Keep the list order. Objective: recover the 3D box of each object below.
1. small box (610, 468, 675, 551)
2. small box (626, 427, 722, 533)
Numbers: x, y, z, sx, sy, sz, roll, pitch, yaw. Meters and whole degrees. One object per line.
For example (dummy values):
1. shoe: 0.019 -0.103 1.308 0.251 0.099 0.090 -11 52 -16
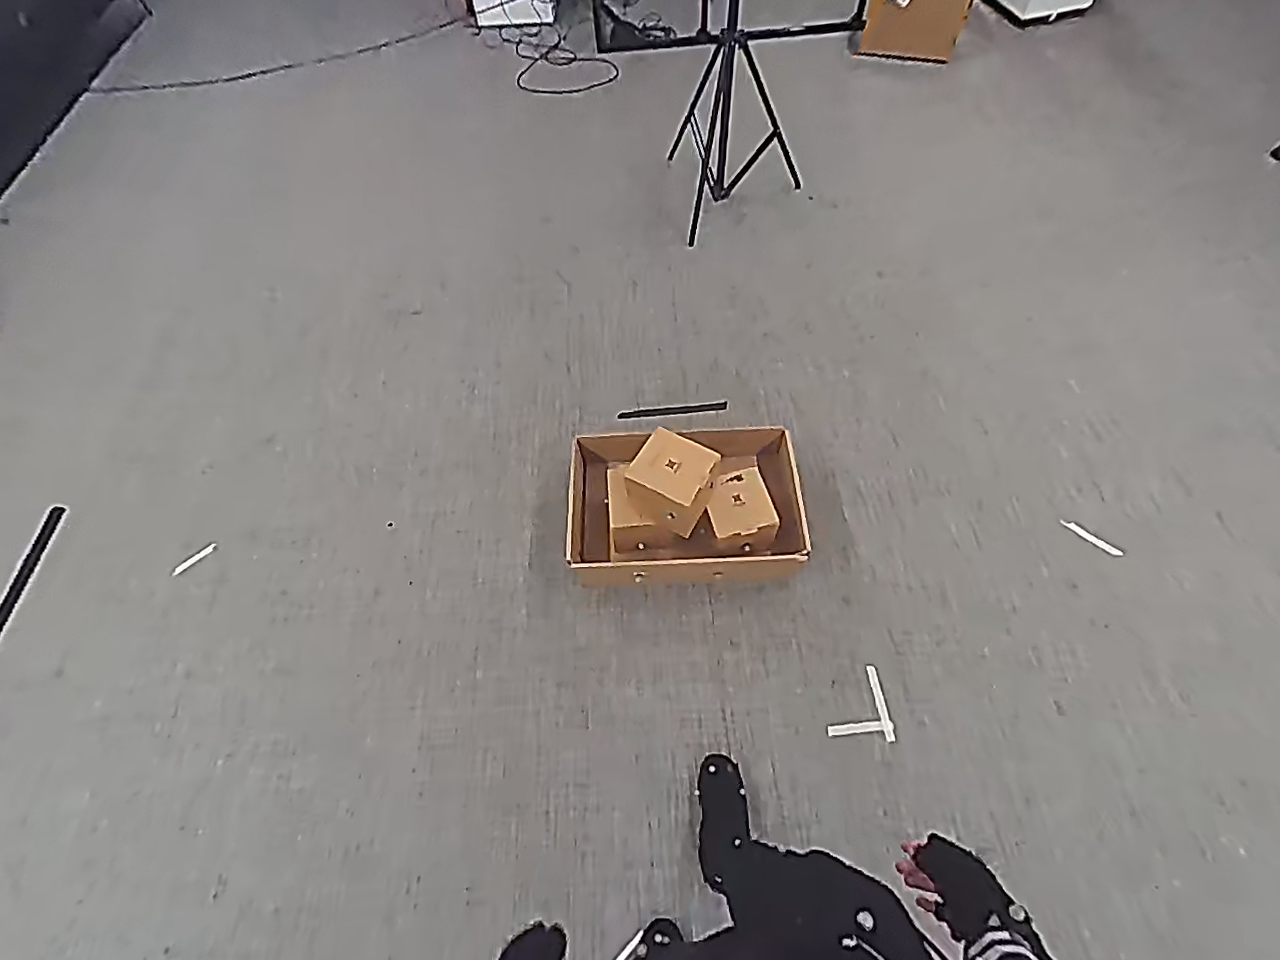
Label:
1. small box: 0.006 0.080 1.478 0.168 0.176 0.179 -4 61 0
2. small box: 0.084 0.007 1.329 0.179 0.176 0.168 26 63 18
